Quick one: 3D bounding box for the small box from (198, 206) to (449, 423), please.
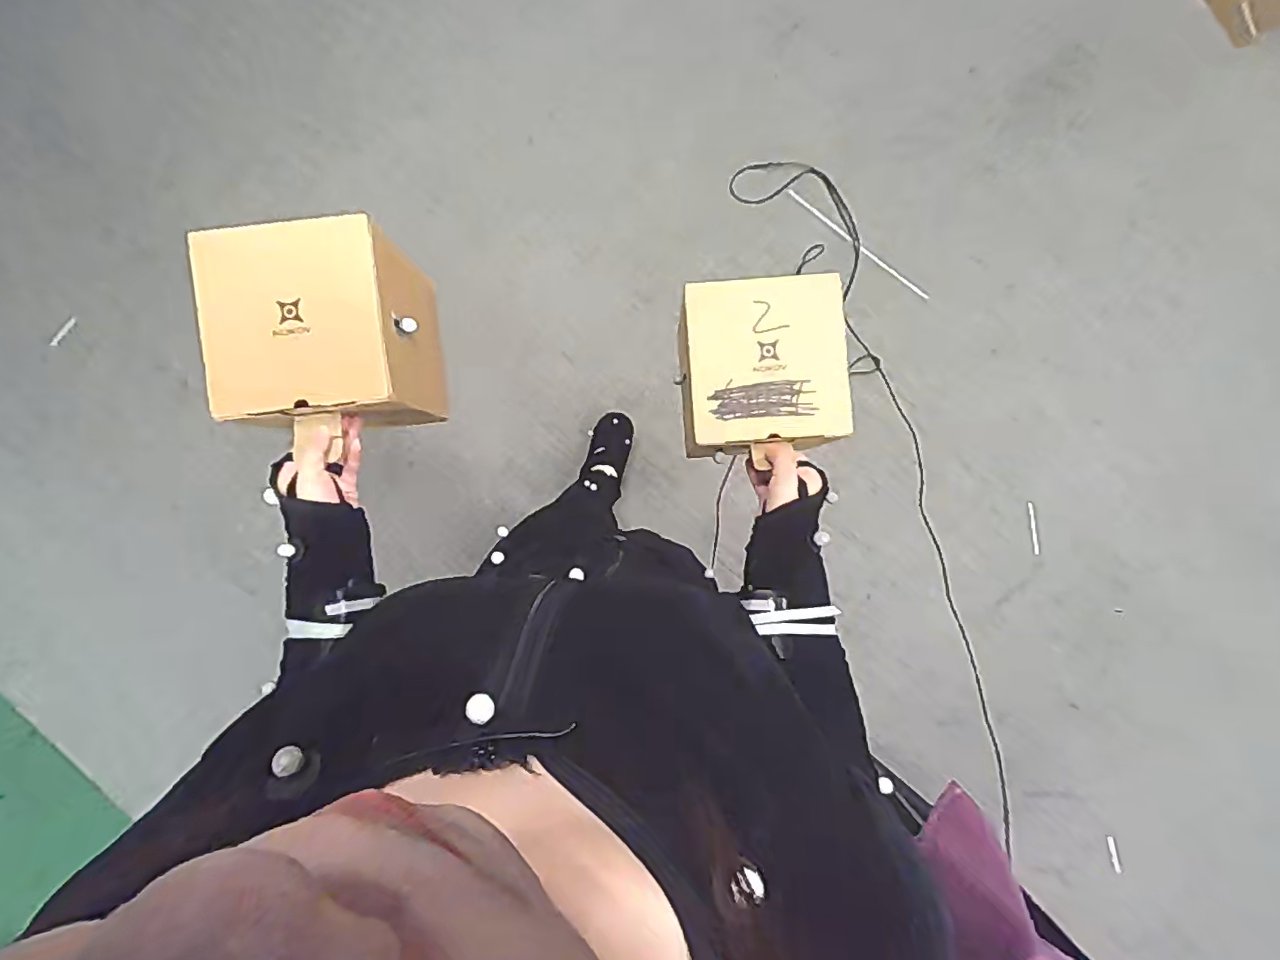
[{"bbox_3d":[-0.316,-0.161,0.575,0.168,0.176,0.179,-6,92,-1],"label":"small box"}]
